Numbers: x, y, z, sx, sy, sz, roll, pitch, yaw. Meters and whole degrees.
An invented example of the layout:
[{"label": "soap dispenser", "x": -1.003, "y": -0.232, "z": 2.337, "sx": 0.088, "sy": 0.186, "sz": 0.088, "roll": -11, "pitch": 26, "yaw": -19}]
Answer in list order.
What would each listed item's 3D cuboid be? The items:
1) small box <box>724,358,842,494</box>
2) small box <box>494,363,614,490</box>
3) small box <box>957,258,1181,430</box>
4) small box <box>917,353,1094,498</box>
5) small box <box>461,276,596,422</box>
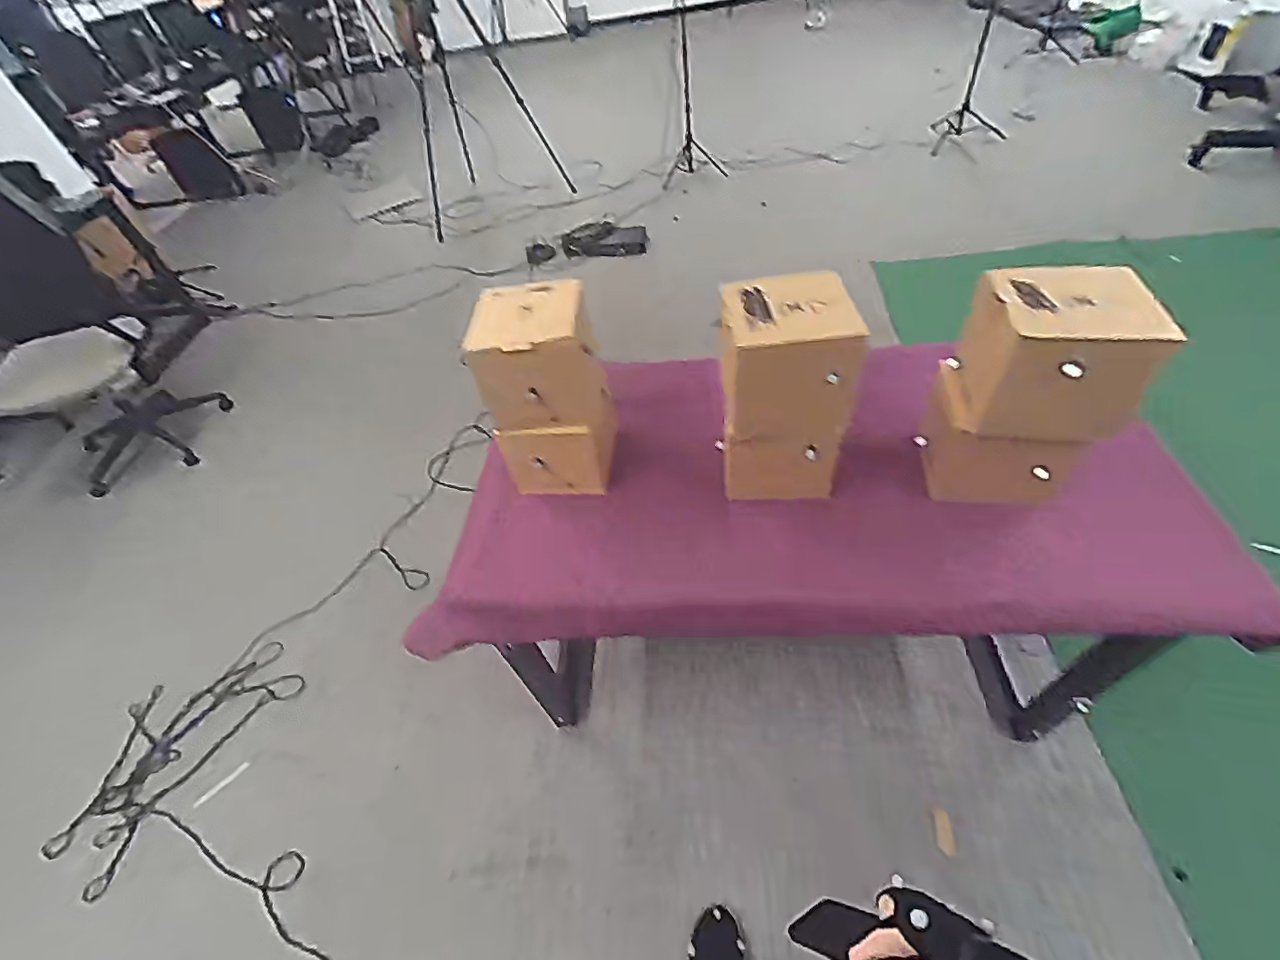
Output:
[{"label": "small box", "x": 0.236, "y": -0.089, "z": 0.933, "sx": 0.179, "sy": 0.176, "sz": 0.168, "roll": -2, "pitch": 49, "yaw": 9}, {"label": "small box", "x": -0.148, "y": -0.094, "z": 1.008, "sx": 0.168, "sy": 0.176, "sz": 0.179, "roll": -1, "pitch": 49, "yaw": 9}, {"label": "small box", "x": 0.556, "y": -0.183, "z": 0.739, "sx": 0.179, "sy": 0.176, "sz": 0.168, "roll": 3, "pitch": 49, "yaw": 12}, {"label": "small box", "x": 0.571, "y": -0.087, "z": 0.872, "sx": 0.179, "sy": 0.176, "sz": 0.168, "roll": 3, "pitch": 49, "yaw": 13}, {"label": "small box", "x": -0.170, "y": -0.208, "z": 0.891, "sx": 0.168, "sy": 0.176, "sz": 0.179, "roll": -5, "pitch": 49, "yaw": 5}]
